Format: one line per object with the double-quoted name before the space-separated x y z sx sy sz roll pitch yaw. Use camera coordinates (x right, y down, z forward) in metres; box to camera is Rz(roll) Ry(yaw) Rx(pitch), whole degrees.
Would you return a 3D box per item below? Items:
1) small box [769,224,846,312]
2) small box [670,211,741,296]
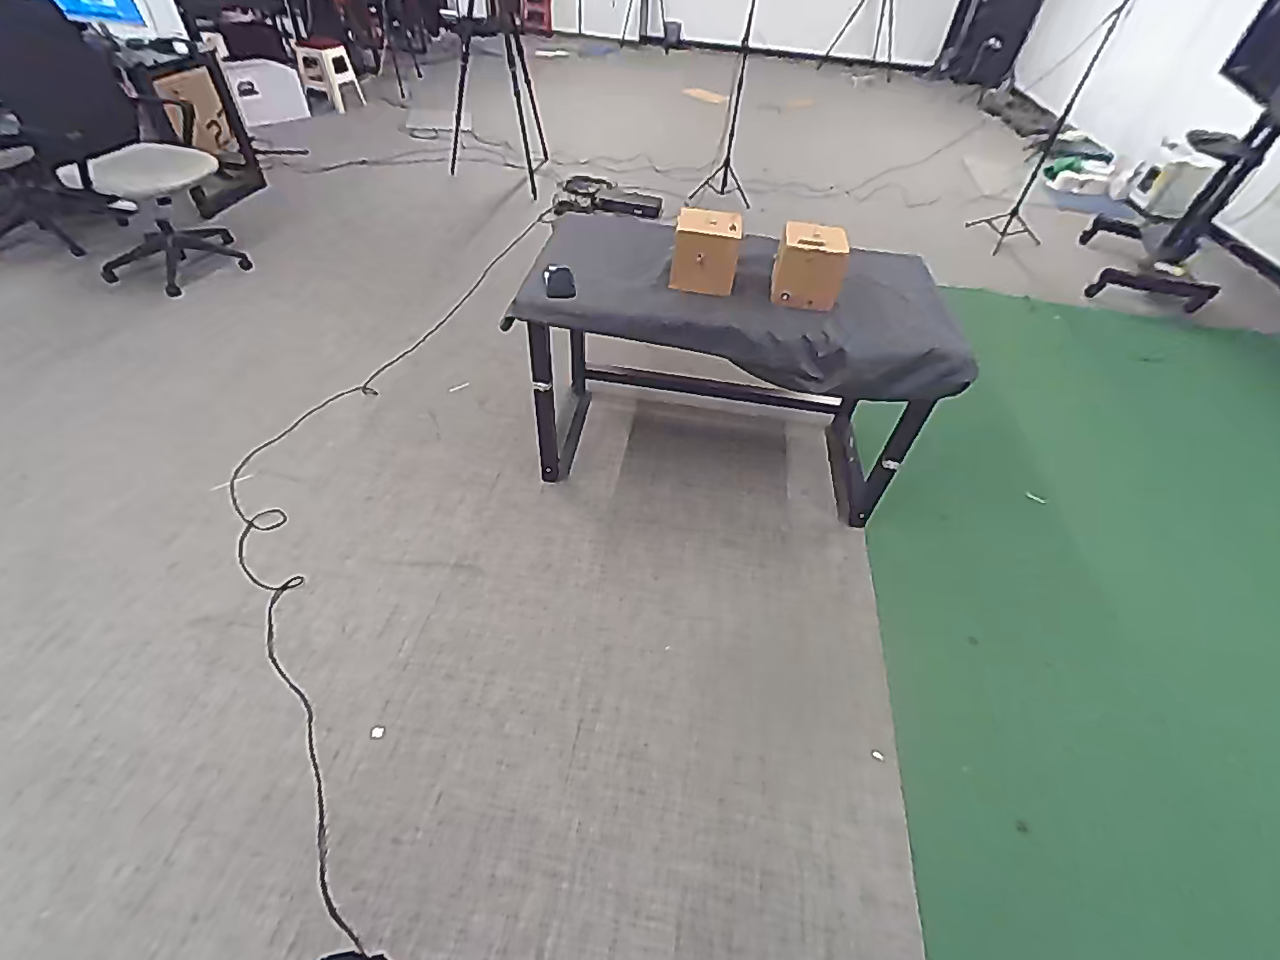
"small box" 0.466 -0.595 1.522 0.168 0.176 0.179 10 46 4
"small box" 0.184 -0.643 1.538 0.179 0.176 0.168 8 47 3
